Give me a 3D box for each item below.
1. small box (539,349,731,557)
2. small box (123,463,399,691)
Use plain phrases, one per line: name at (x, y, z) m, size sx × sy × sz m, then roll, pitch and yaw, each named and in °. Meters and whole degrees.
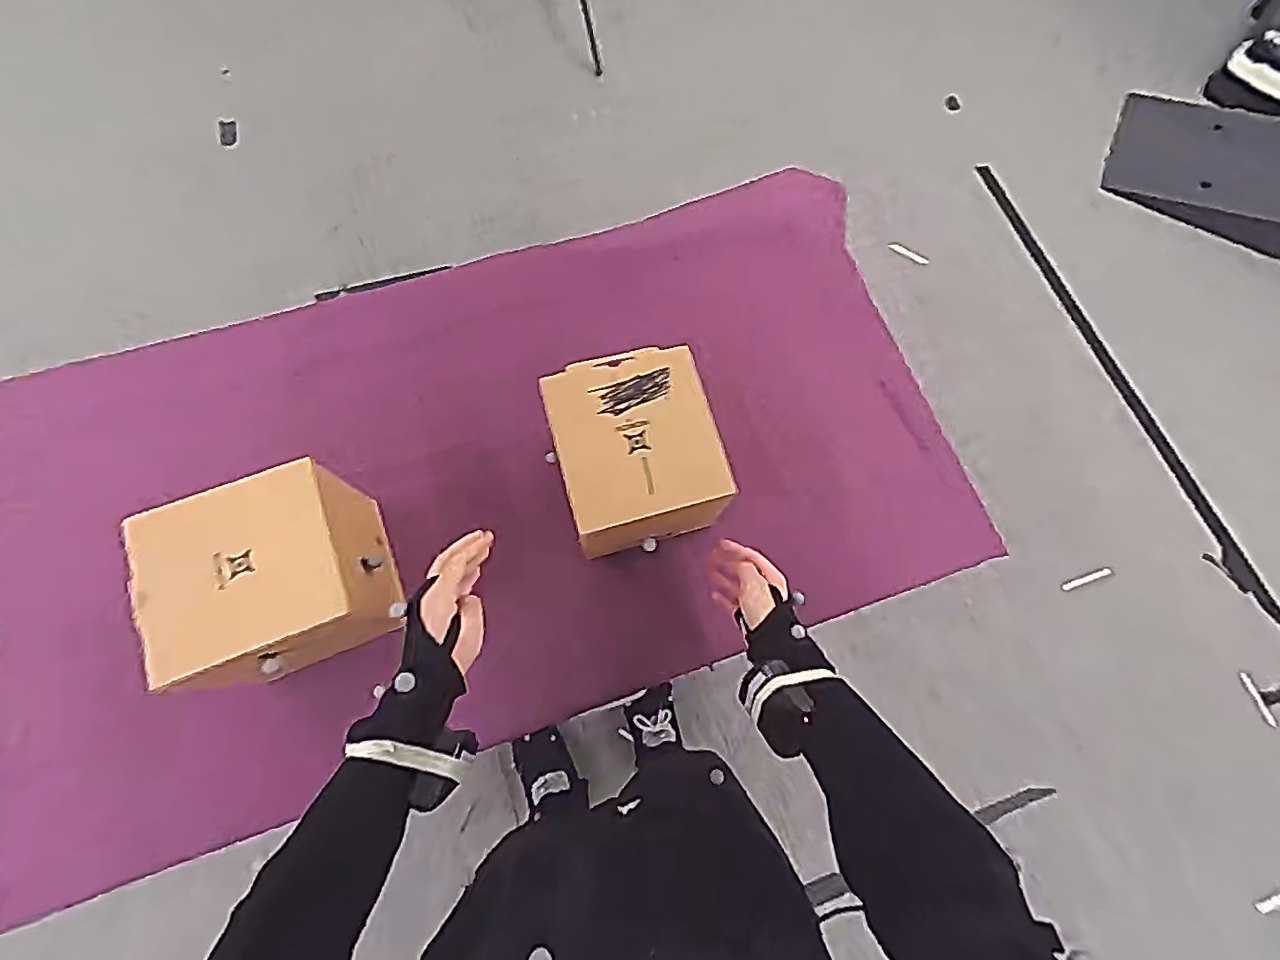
small box at (-0.012, -0.023, 0.638) m, size 0.168 × 0.176 × 0.179 m, roll -15°, pitch 75°, yaw -7°
small box at (-0.381, 0.106, 0.580) m, size 0.179 × 0.176 × 0.168 m, roll -22°, pitch 75°, yaw -9°
